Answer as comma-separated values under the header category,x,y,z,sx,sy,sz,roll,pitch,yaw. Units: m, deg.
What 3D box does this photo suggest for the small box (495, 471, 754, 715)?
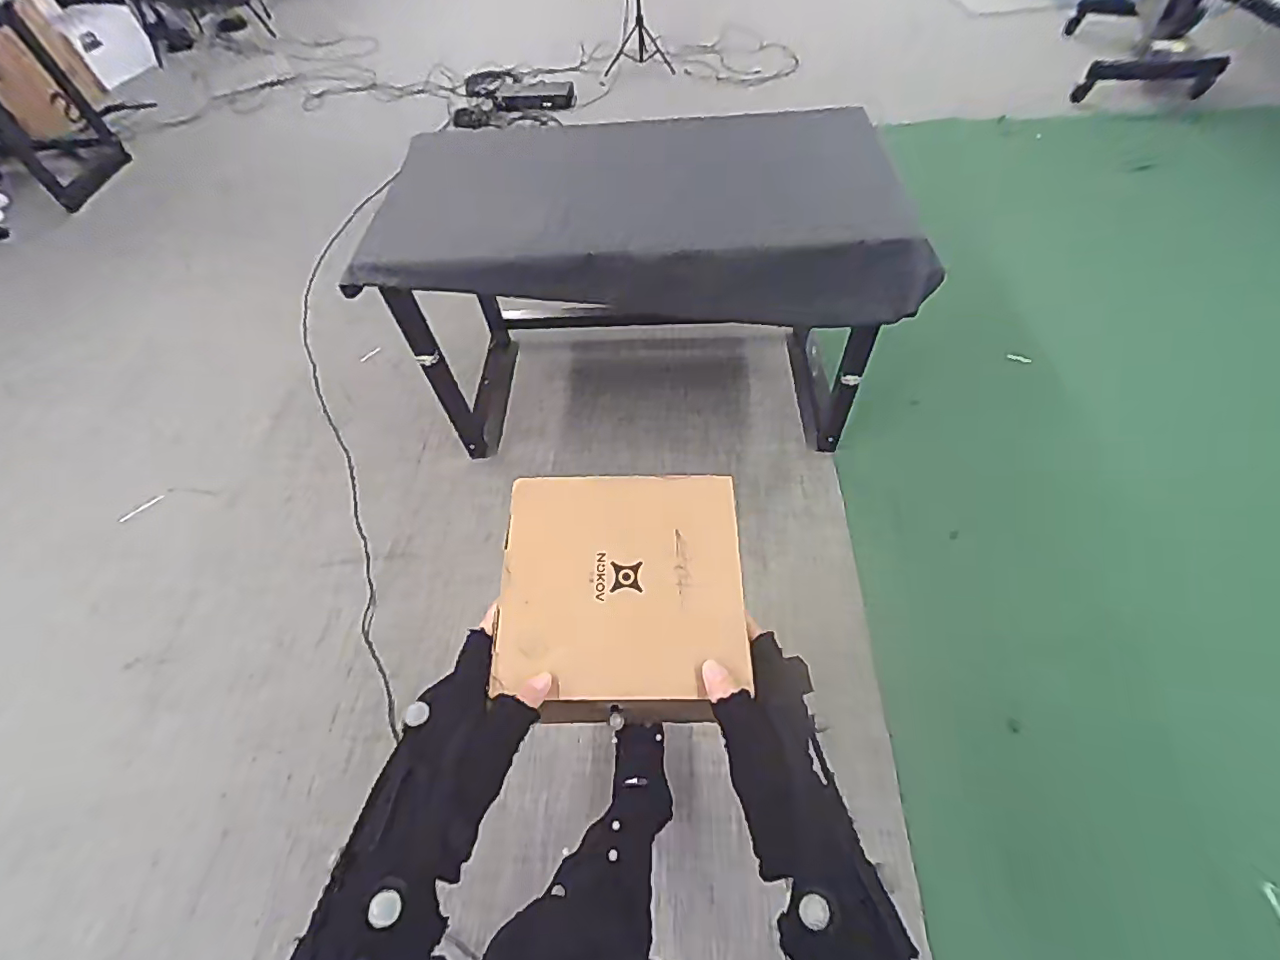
category,x,y,z,sx,sy,sz,roll,pitch,yaw
small box,-0.011,0.104,0.464,0.179,0.176,0.168,-1,62,-1
